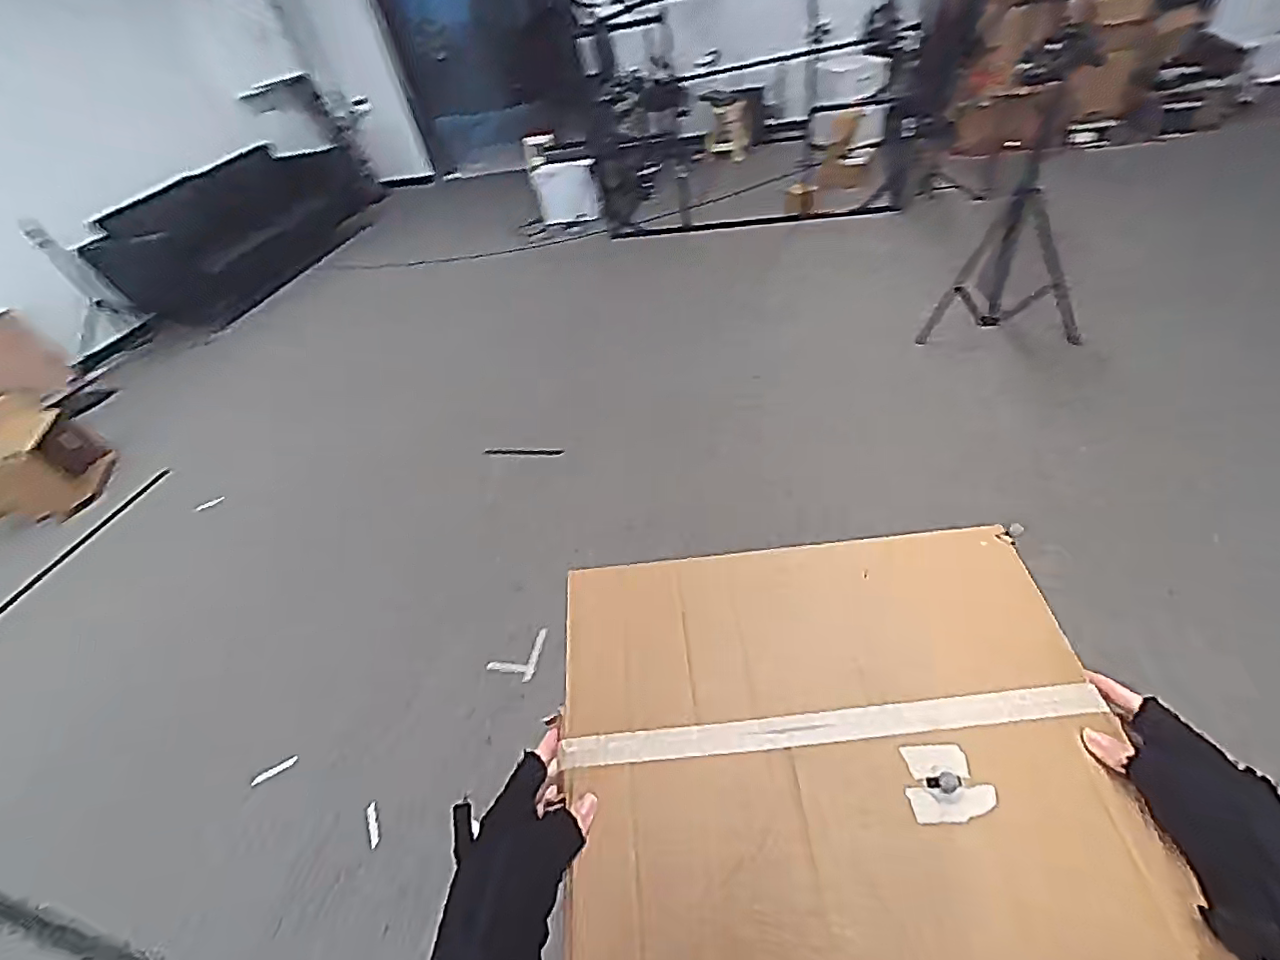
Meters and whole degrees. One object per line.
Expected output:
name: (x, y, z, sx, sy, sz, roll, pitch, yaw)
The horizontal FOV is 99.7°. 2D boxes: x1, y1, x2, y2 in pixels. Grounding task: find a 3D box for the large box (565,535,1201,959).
large box: (0.151, 0.289, 0.543, 0.408, 0.320, 0.320, -7, 53, 1)
